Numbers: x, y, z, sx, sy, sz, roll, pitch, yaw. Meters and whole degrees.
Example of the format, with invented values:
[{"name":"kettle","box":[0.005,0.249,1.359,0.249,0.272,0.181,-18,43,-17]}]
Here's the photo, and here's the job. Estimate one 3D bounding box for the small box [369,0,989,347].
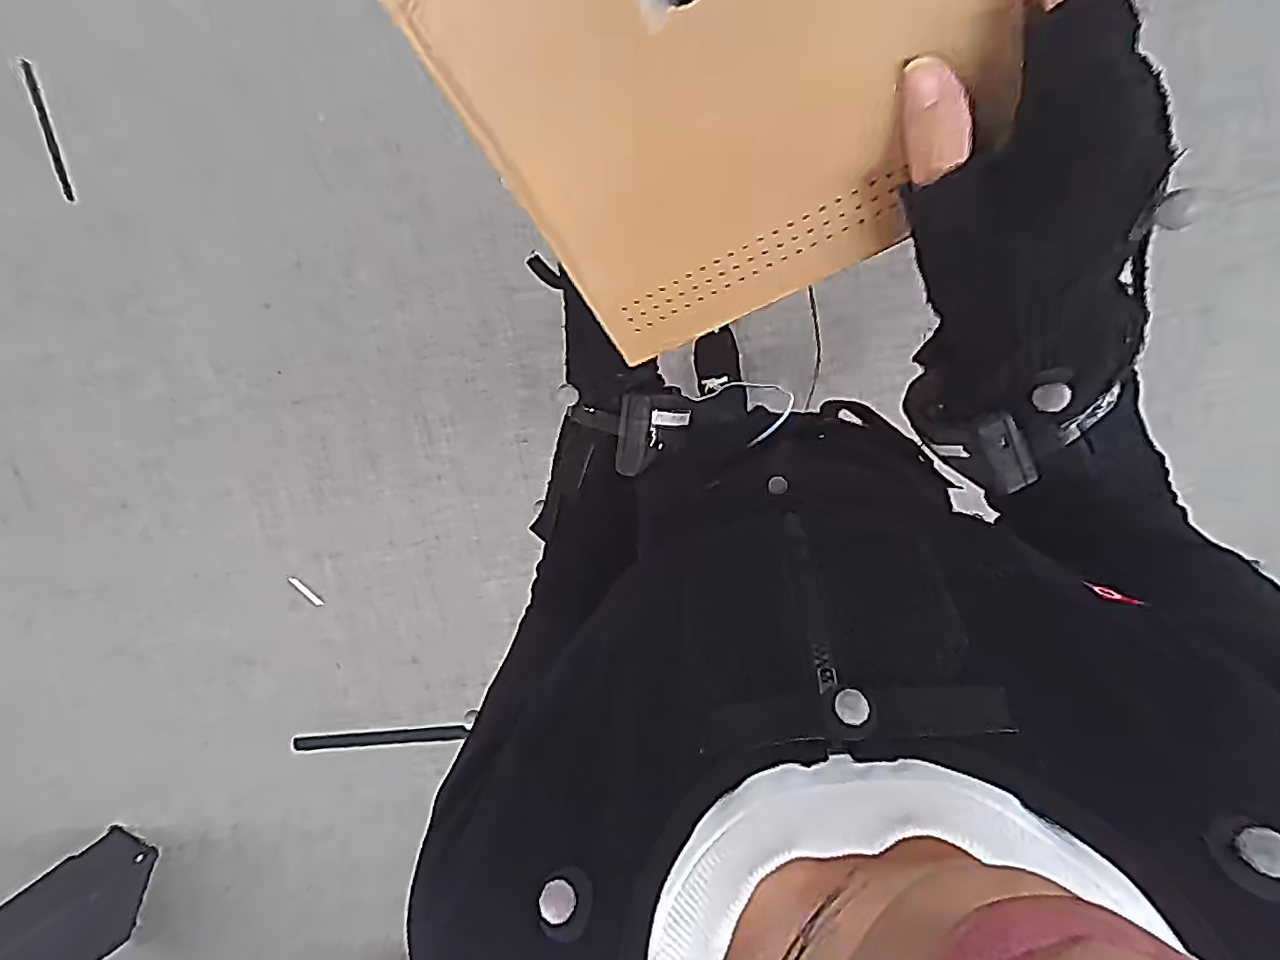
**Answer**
[{"name":"small box","box":[0.028,-0.191,0.240,0.179,0.168,0.176,-19,138,20]}]
